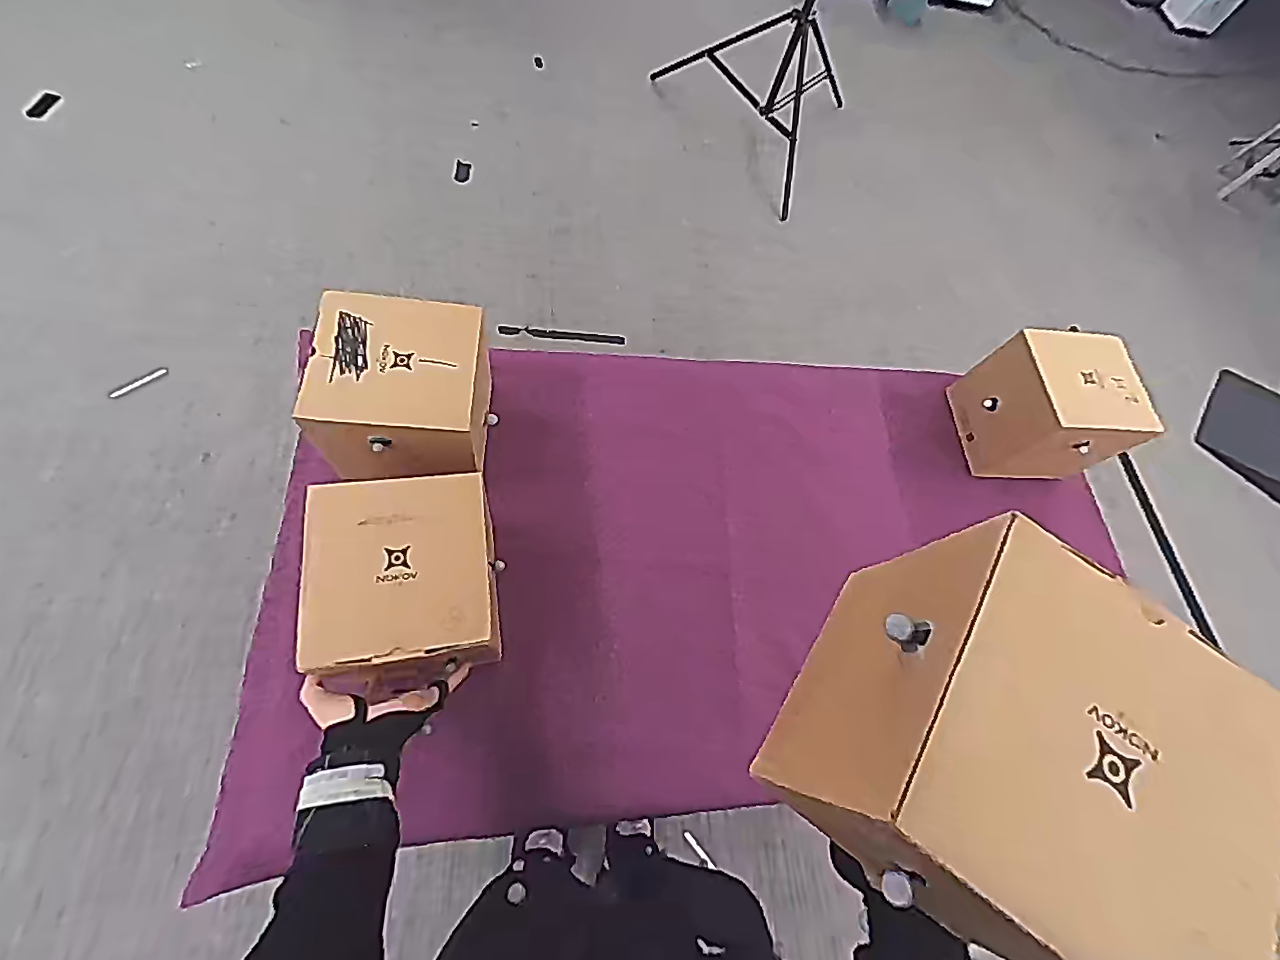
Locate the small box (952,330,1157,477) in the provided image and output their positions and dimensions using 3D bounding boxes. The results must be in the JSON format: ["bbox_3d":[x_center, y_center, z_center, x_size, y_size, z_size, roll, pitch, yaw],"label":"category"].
[{"bbox_3d":[0.624,-0.112,0.846,0.179,0.176,0.168,1,67,-11],"label":"small box"}]

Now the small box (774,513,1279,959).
[{"bbox_3d":[0.203,0.156,0.320,0.168,0.176,0.179,36,65,5],"label":"small box"}]

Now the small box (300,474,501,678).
[{"bbox_3d":[-0.243,0.111,0.586,0.168,0.176,0.179,-5,67,-15],"label":"small box"}]

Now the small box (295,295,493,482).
[{"bbox_3d":[-0.281,-0.099,0.665,0.179,0.176,0.168,3,68,-11],"label":"small box"}]
